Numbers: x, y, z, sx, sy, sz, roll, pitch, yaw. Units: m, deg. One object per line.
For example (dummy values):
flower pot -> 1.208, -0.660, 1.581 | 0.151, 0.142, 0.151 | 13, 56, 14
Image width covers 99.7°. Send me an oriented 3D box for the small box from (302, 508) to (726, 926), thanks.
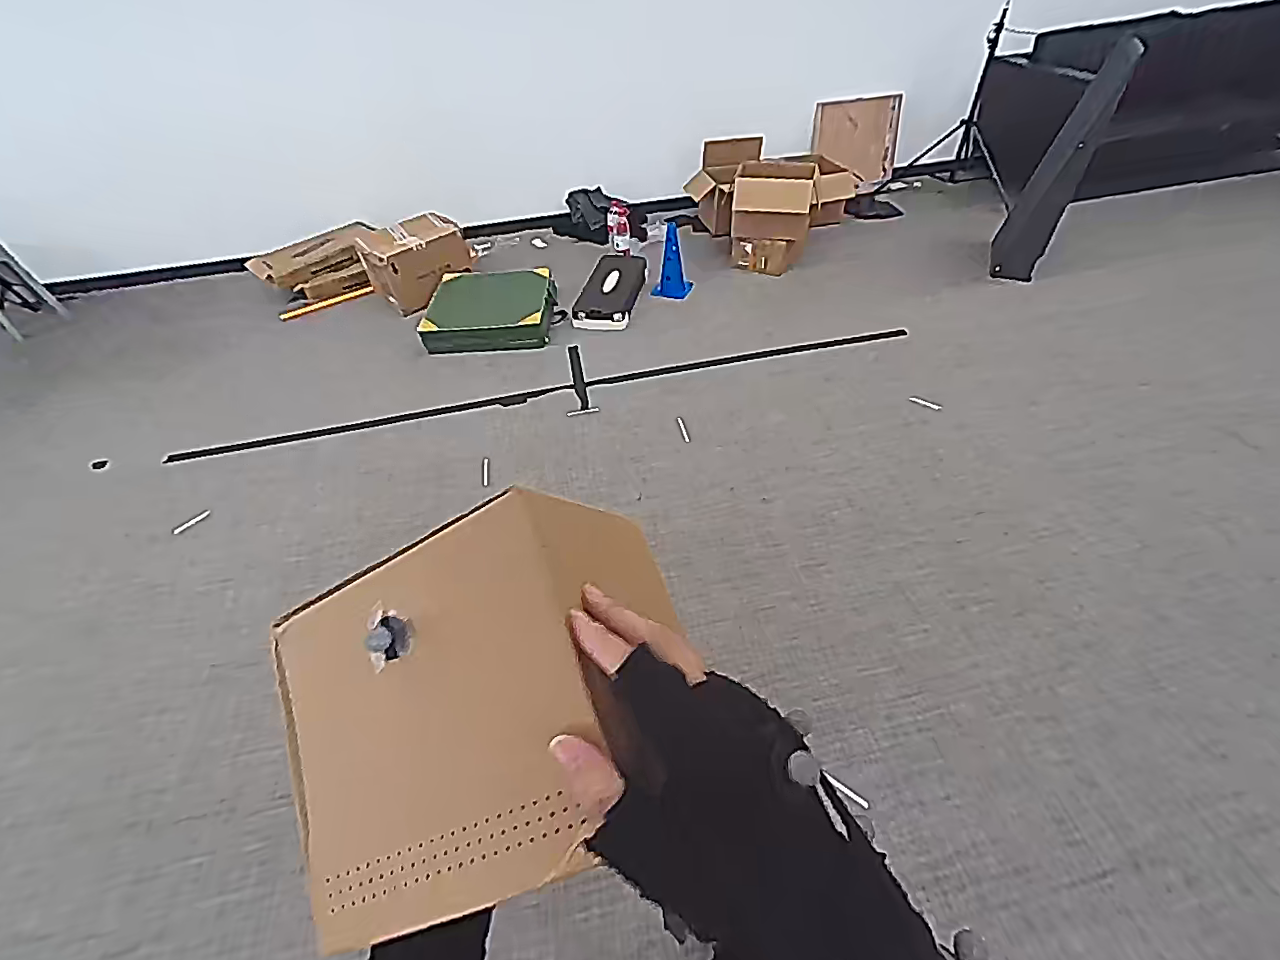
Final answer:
small box -> -0.071, 0.138, 0.347 | 0.179, 0.168, 0.176 | -29, 72, 15
